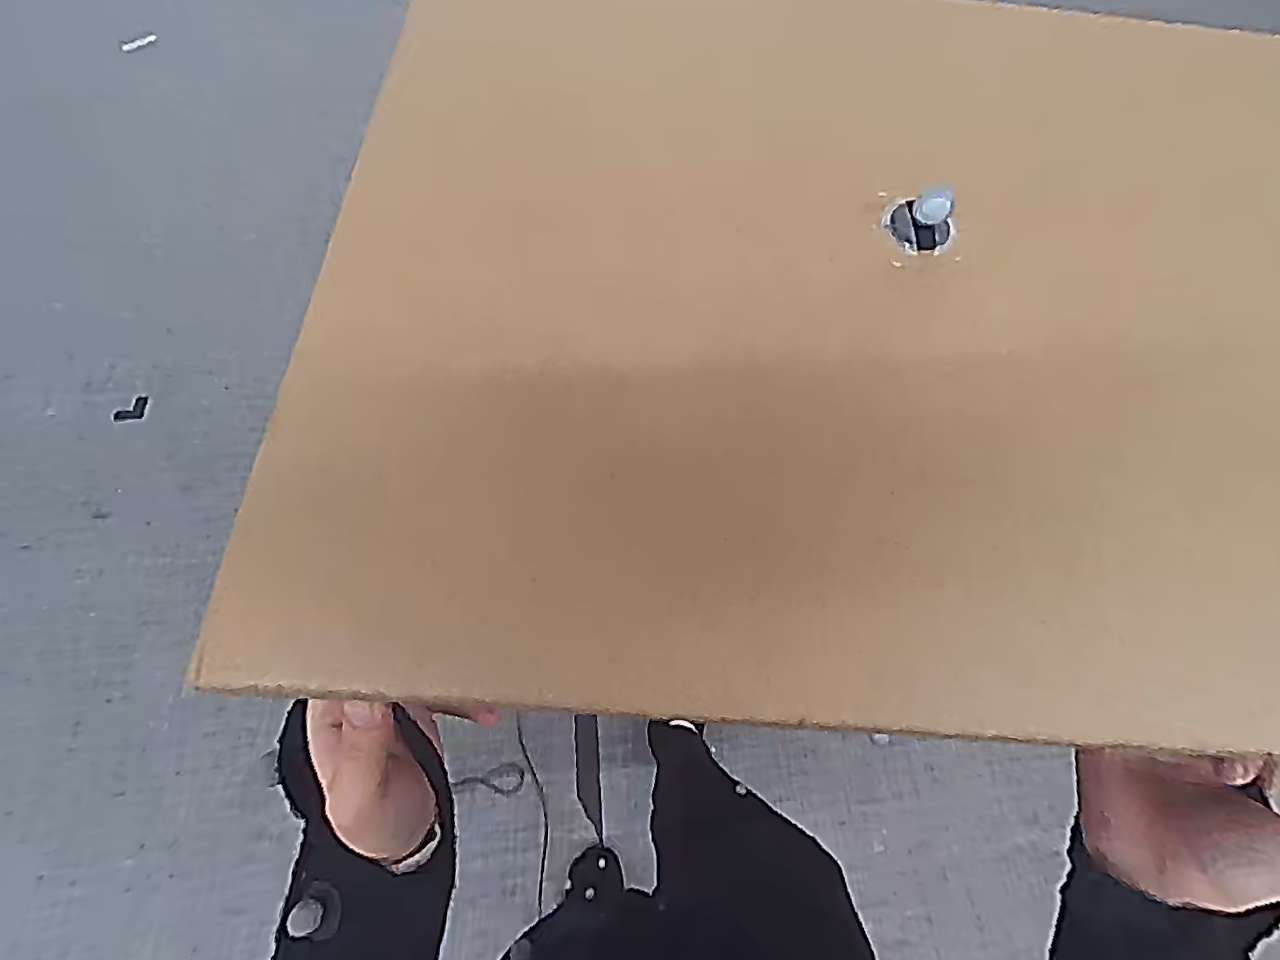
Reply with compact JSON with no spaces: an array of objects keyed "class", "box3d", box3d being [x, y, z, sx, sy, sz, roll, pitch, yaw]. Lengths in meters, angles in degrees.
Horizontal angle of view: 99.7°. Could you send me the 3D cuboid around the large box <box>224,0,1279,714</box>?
[{"class":"large box","box3d":[0.086,-0.041,0.332,0.408,0.320,0.320,3,72,-1]}]
